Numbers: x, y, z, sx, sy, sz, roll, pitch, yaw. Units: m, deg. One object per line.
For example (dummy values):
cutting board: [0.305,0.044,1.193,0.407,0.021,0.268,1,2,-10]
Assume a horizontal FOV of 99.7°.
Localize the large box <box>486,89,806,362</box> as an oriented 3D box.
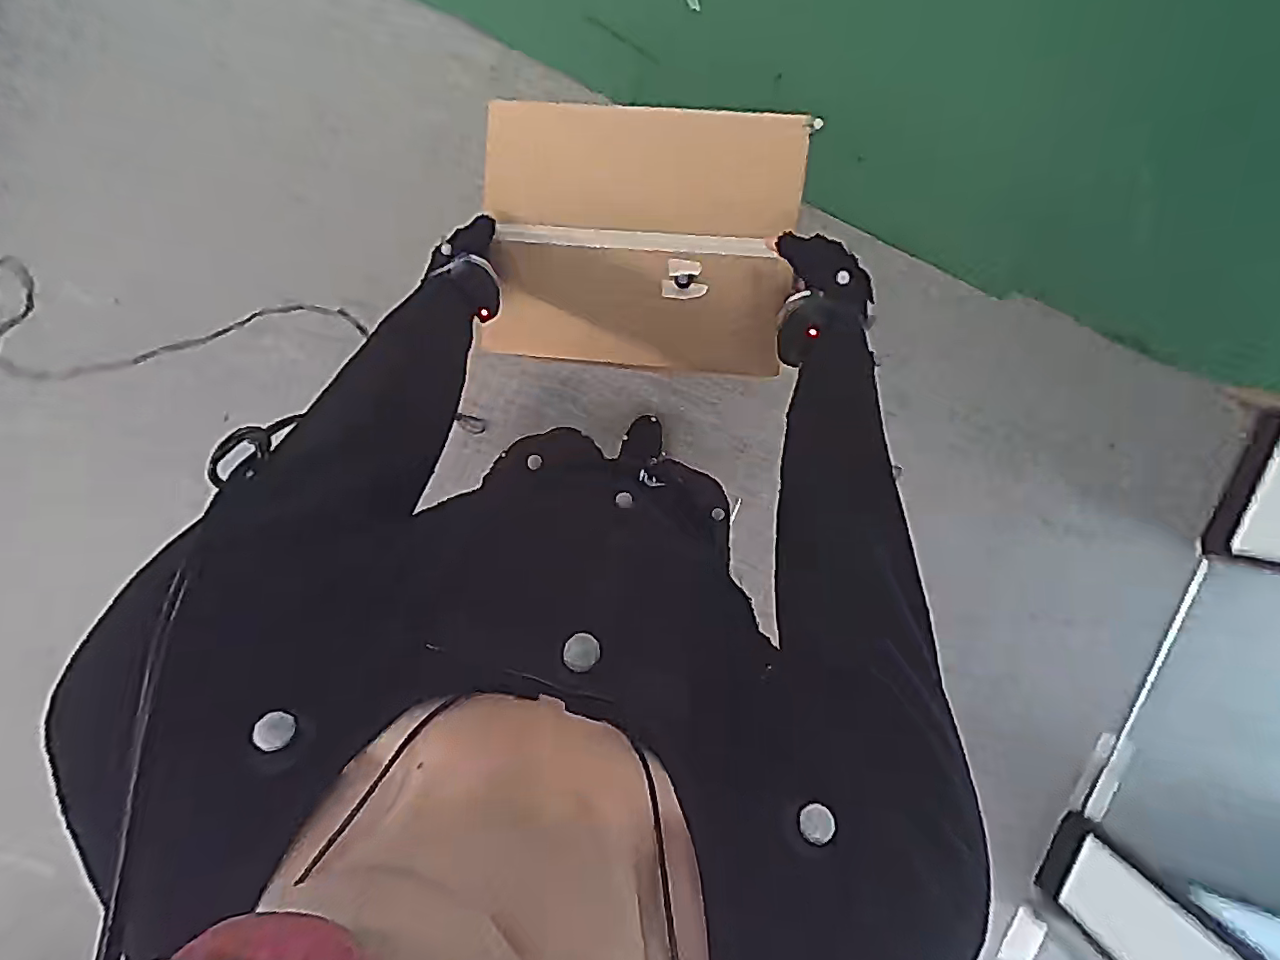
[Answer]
large box: [0.005,-0.354,0.840,0.408,0.320,0.320,5,102,3]
